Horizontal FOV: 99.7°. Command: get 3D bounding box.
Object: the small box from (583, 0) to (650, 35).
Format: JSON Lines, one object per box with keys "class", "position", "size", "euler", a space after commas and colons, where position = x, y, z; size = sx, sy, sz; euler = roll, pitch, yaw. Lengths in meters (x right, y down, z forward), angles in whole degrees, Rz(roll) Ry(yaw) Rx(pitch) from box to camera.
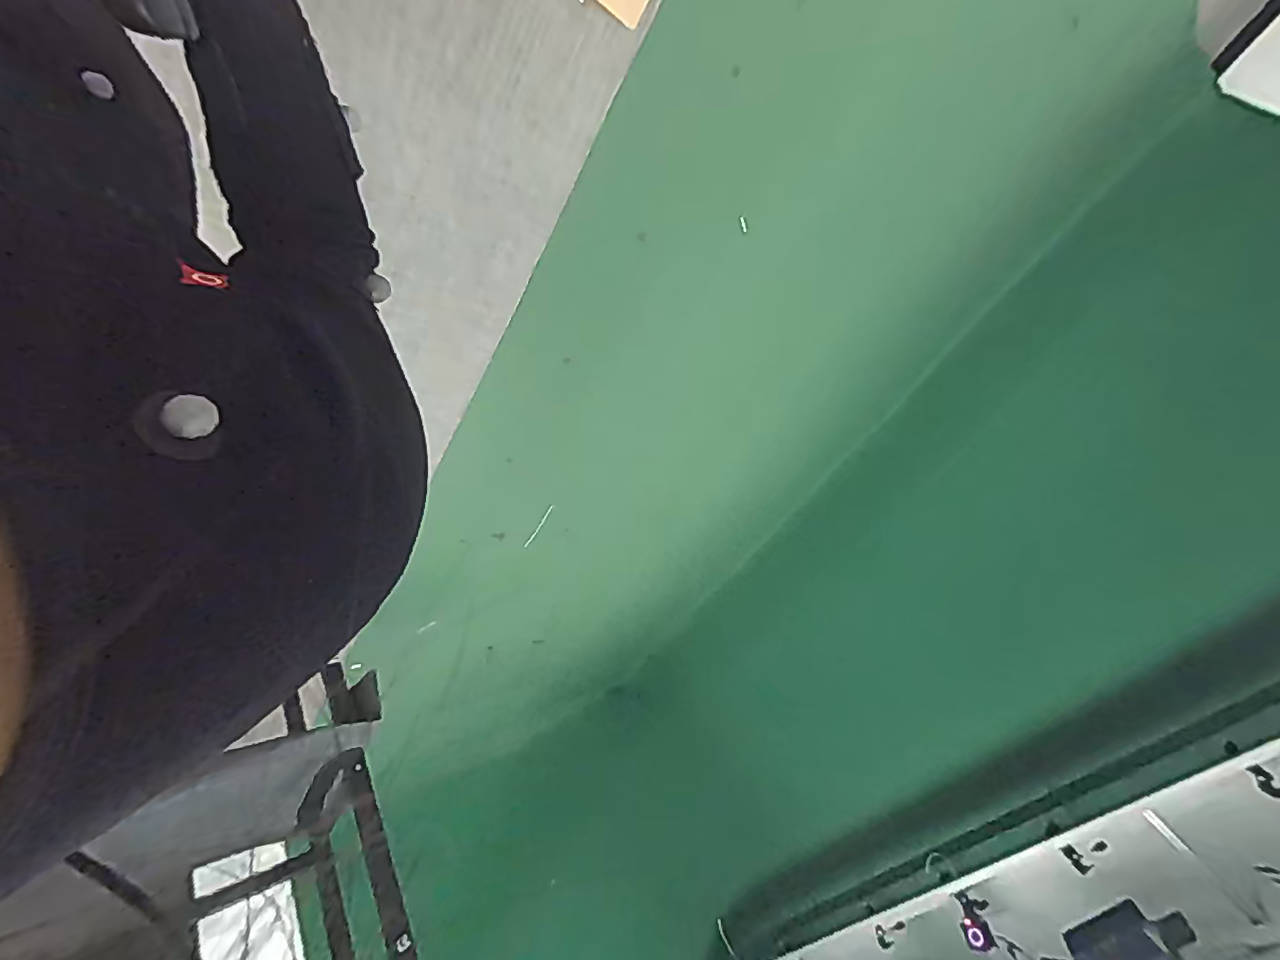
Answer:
{"class": "small box", "position": [-0.067, -1.063, 1.089], "size": [0.168, 0.176, 0.179], "euler": [1, 135, -48]}
